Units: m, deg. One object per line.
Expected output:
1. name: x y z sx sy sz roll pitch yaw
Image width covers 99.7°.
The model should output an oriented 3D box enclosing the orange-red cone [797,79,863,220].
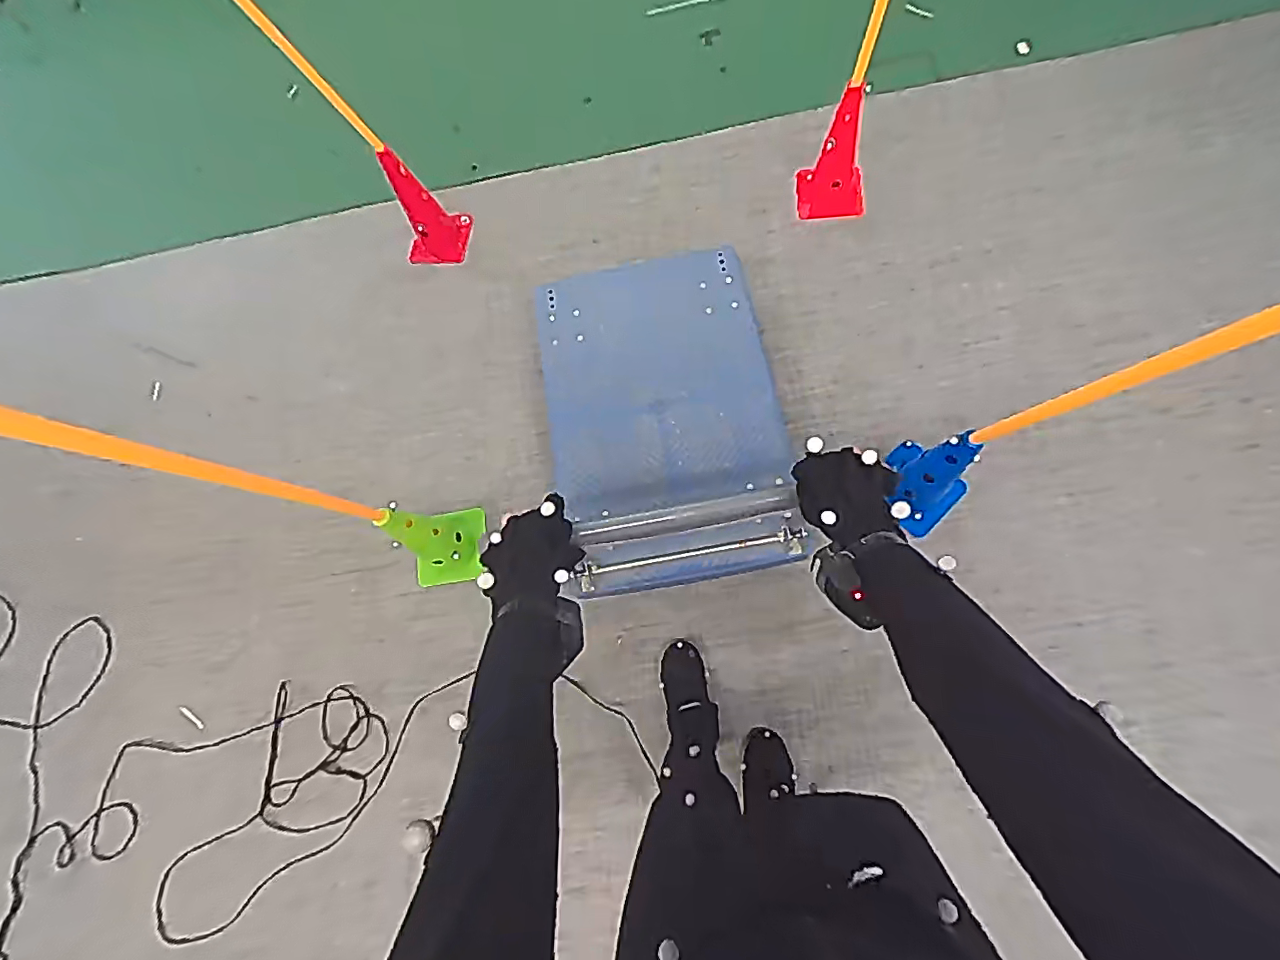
1. orange-red cone: 0.570 -0.950 1.536 0.198 0.360 0.199 1 74 10
